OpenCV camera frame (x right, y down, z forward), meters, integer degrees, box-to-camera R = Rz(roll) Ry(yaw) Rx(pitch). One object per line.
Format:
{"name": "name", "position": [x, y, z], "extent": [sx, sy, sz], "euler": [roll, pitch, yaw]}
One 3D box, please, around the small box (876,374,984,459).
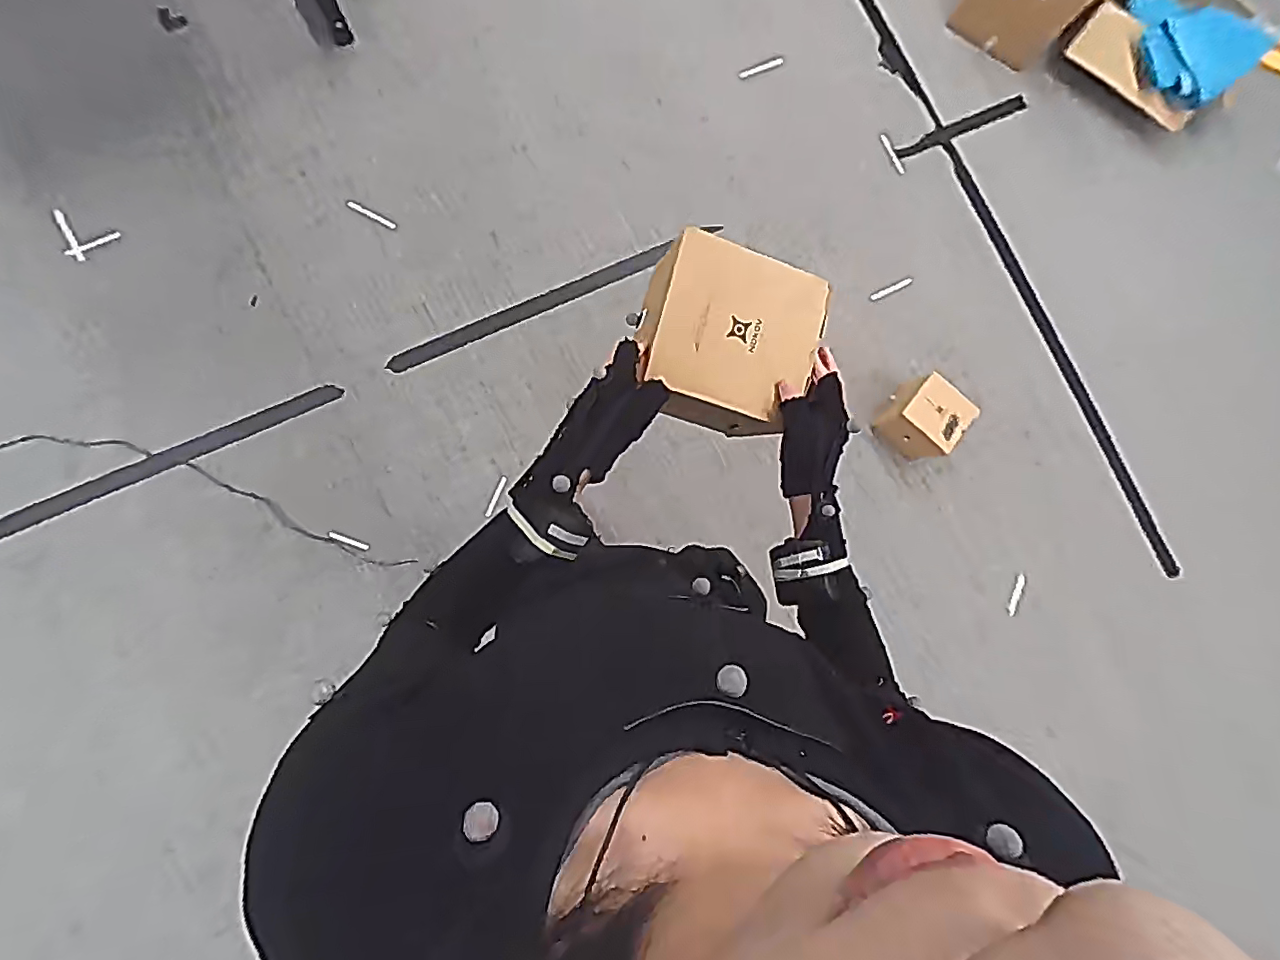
{"name": "small box", "position": [0.830, -0.175, 1.564], "extent": [0.179, 0.176, 0.168], "euler": [41, 82, -1]}

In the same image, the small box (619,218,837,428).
{"name": "small box", "position": [0.087, -0.160, 0.619], "extent": [0.179, 0.176, 0.168], "euler": [14, 88, -11]}
